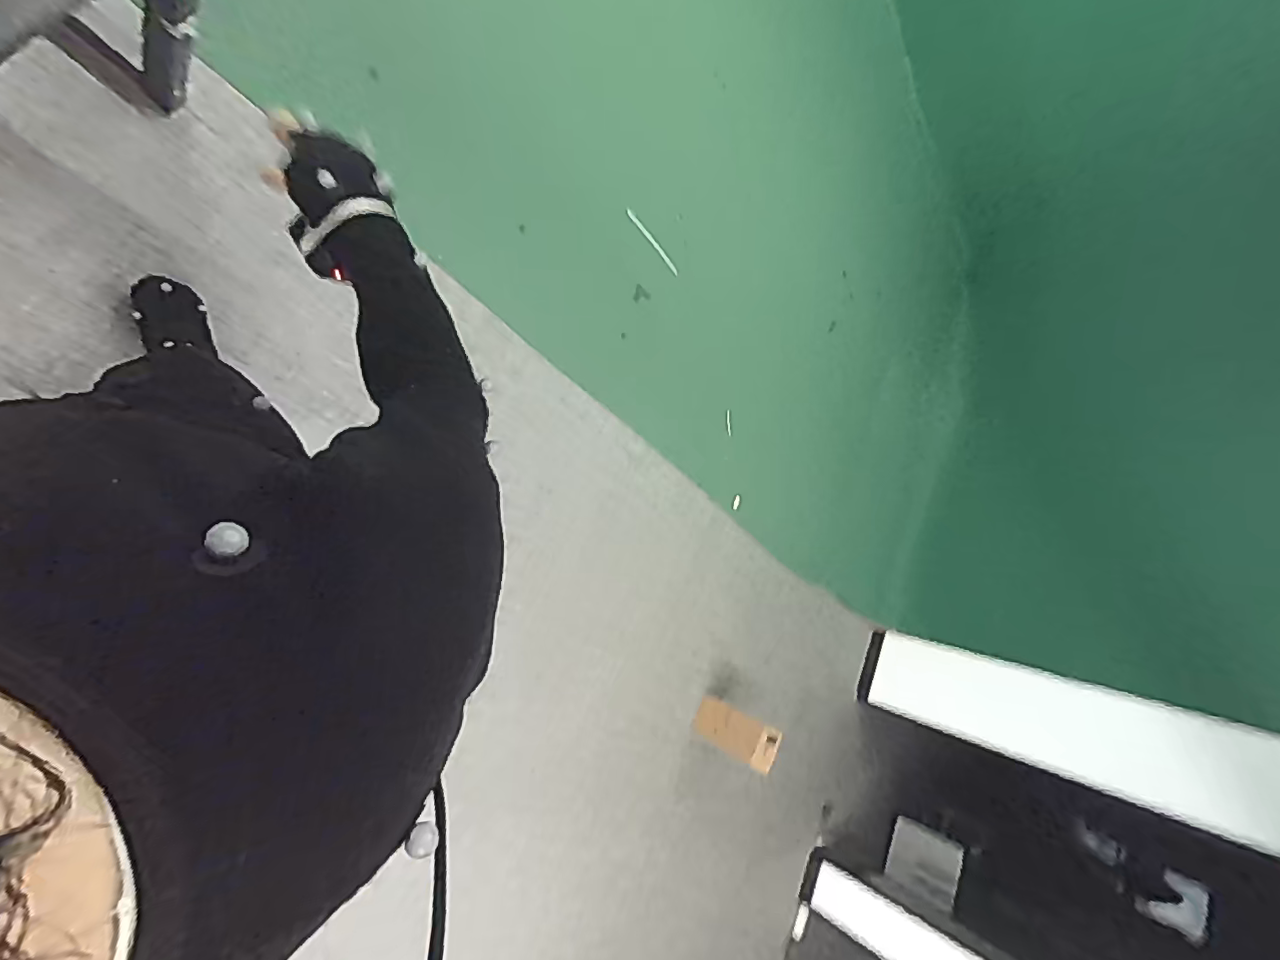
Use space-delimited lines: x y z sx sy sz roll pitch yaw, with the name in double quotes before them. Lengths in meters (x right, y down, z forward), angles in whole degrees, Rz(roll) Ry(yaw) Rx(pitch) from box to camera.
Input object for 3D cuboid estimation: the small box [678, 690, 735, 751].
"small box" 0.293 1.076 2.426 0.168 0.176 0.179 45 64 -37
